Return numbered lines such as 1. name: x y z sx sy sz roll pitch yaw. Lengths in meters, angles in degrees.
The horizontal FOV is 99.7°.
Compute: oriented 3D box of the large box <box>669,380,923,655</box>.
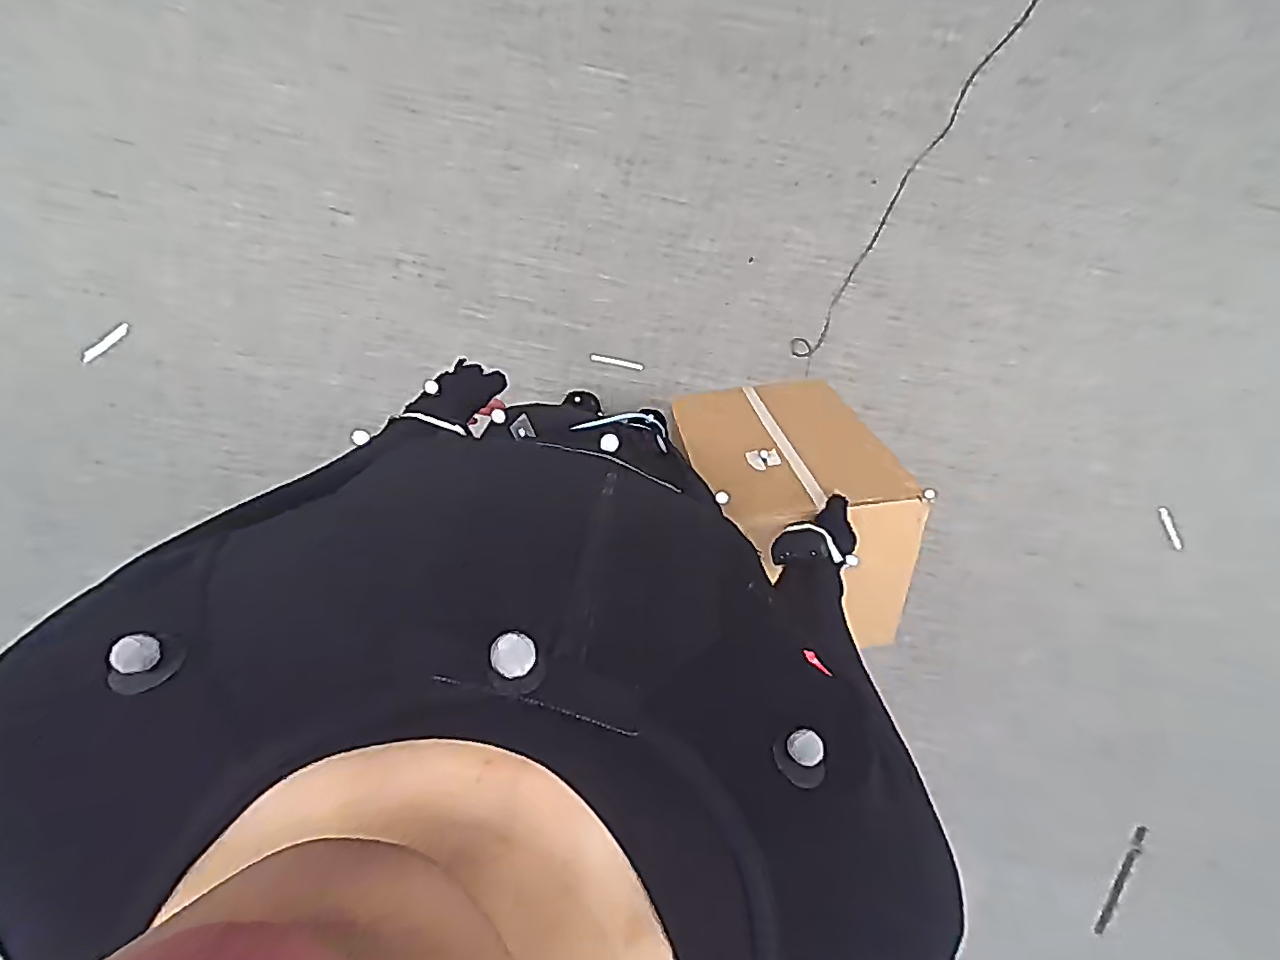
1. large box: 0.241 0.052 1.006 0.320 0.408 0.320 -8 127 -2
